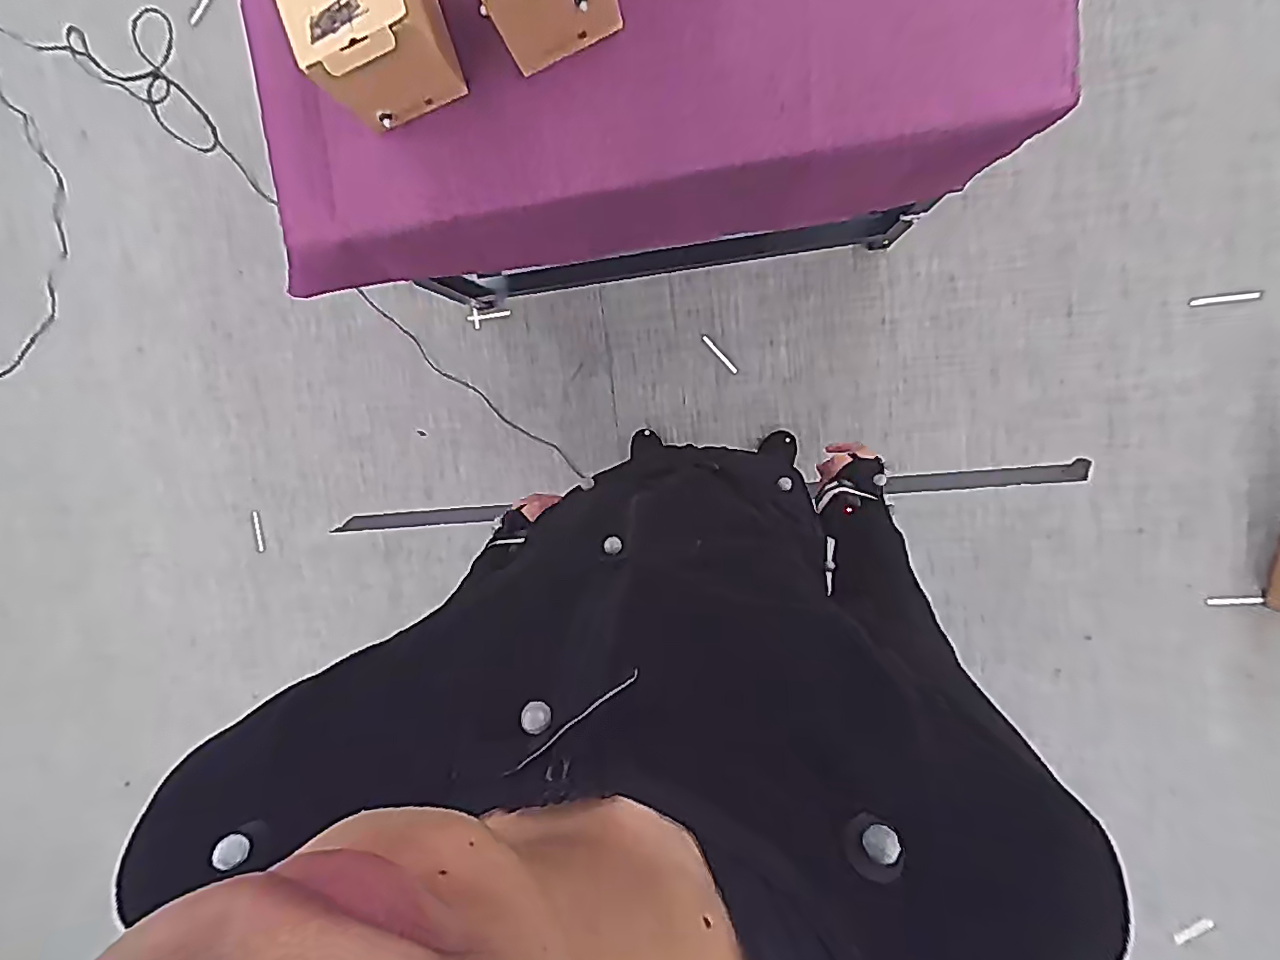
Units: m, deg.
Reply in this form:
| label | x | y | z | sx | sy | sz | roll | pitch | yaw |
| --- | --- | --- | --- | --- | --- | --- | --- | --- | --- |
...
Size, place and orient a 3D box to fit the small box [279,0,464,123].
| label | x | y | z | sx | sy | sz | roll | pitch | yaw |
| --- | --- | --- | --- | --- | --- | --- | --- | --- | --- |
| small box | -0.379 | -0.650 | 0.770 | 0.168 | 0.176 | 0.179 | -18 | 94 | 9 |

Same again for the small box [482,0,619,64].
| label | x | y | z | sx | sy | sz | roll | pitch | yaw |
| --- | --- | --- | --- | --- | --- | --- | --- | --- | --- |
| small box | -0.139 | -0.714 | 0.731 | 0.168 | 0.176 | 0.179 | -19 | 94 | 9 |
